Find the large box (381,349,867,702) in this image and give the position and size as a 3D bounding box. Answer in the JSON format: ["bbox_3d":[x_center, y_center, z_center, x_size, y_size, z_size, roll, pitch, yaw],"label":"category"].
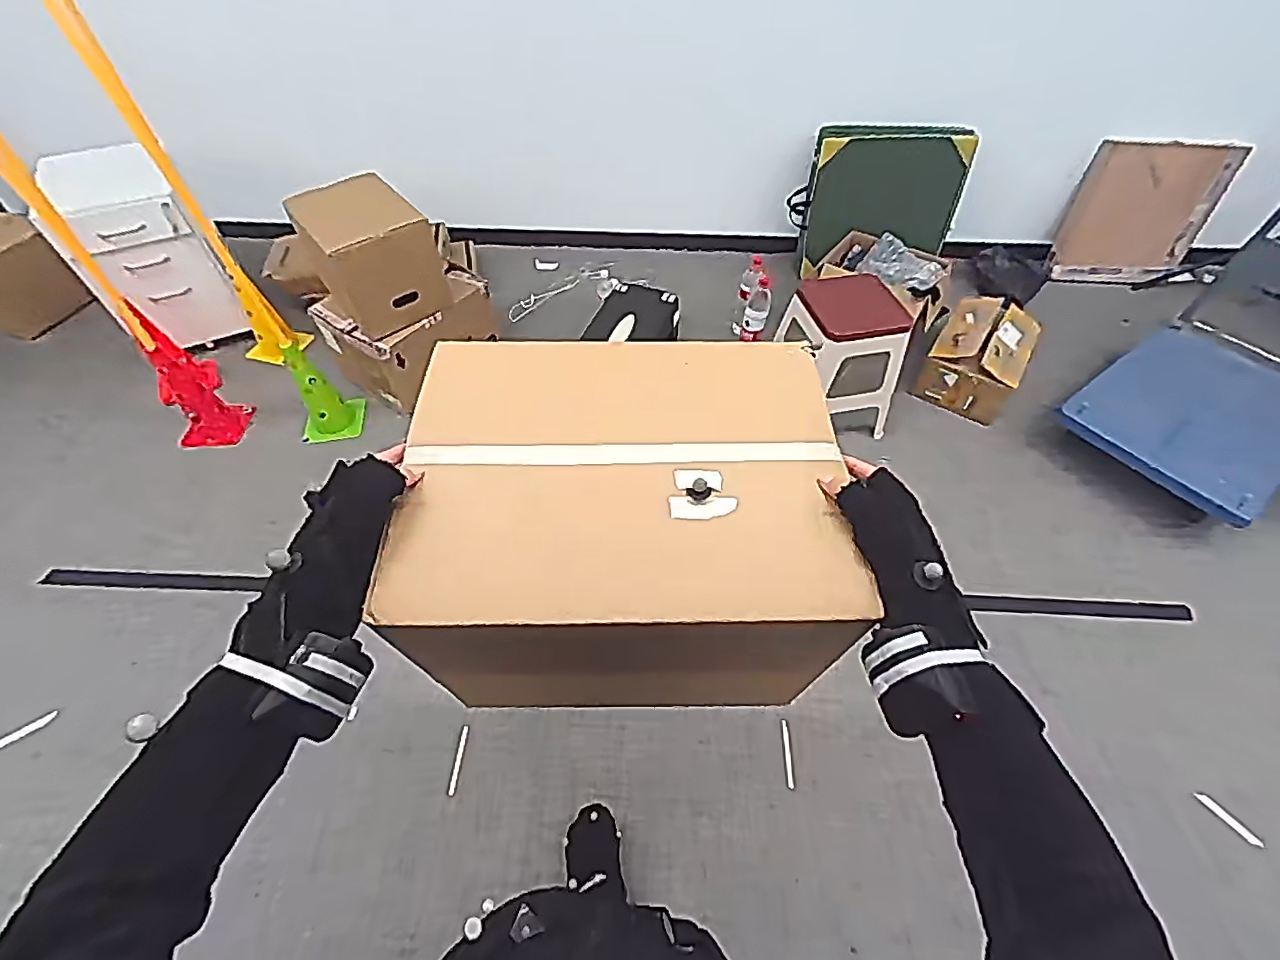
[{"bbox_3d":[-0.017,0.064,0.641,0.408,0.320,0.320,0,56,-1],"label":"large box"}]
